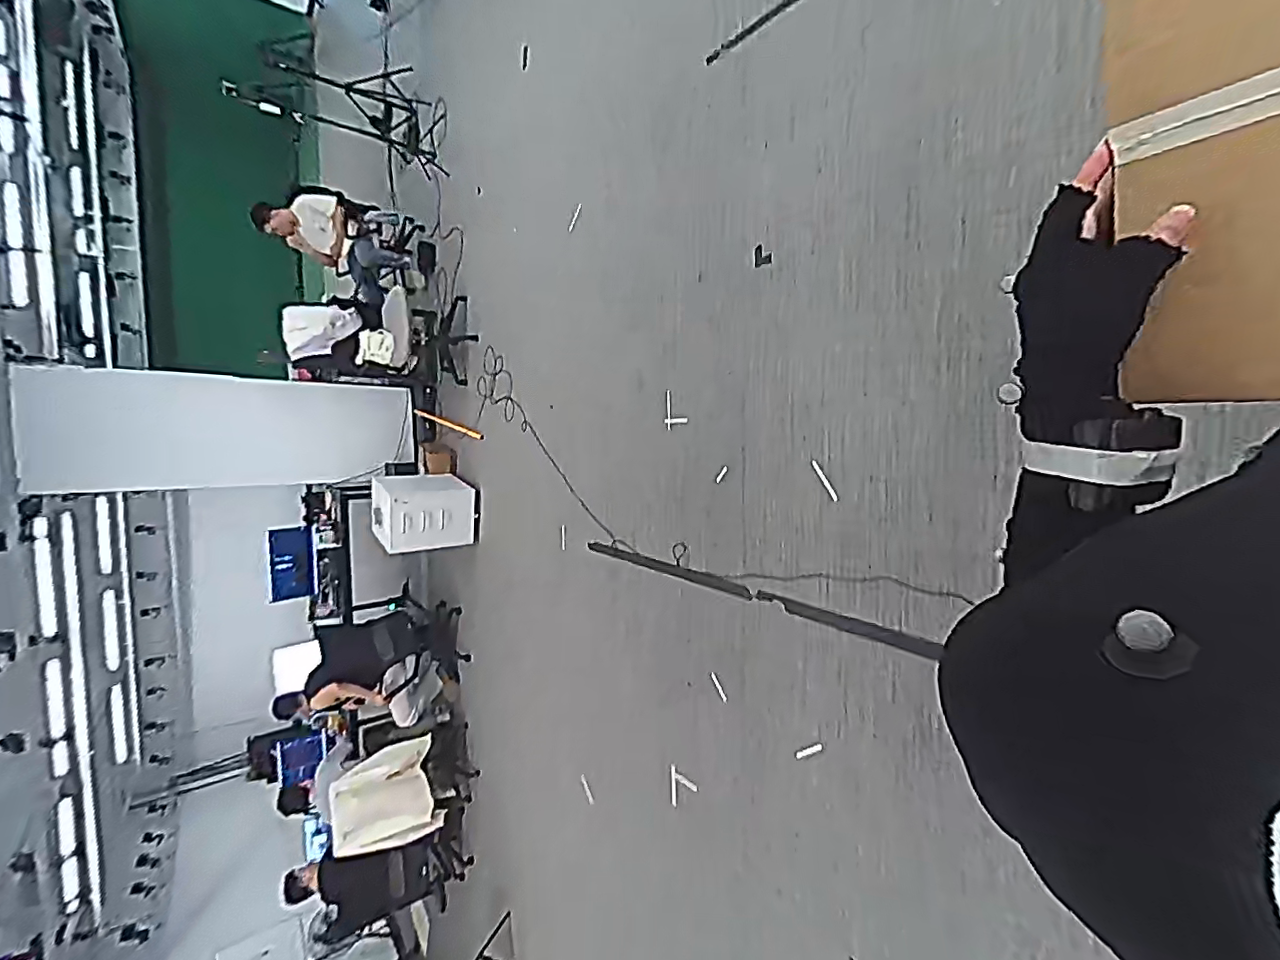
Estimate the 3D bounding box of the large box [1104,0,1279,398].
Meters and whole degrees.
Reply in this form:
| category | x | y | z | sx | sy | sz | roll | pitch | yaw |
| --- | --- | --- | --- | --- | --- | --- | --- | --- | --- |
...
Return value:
| category | x | y | z | sx | sy | sz | roll | pitch | yaw |
| --- | --- | --- | --- | --- | --- | --- | --- | --- | --- |
| large box | 0.515 | -0.233 | 0.242 | 0.408 | 0.320 | 0.320 | 9 | 117 | 56 |
